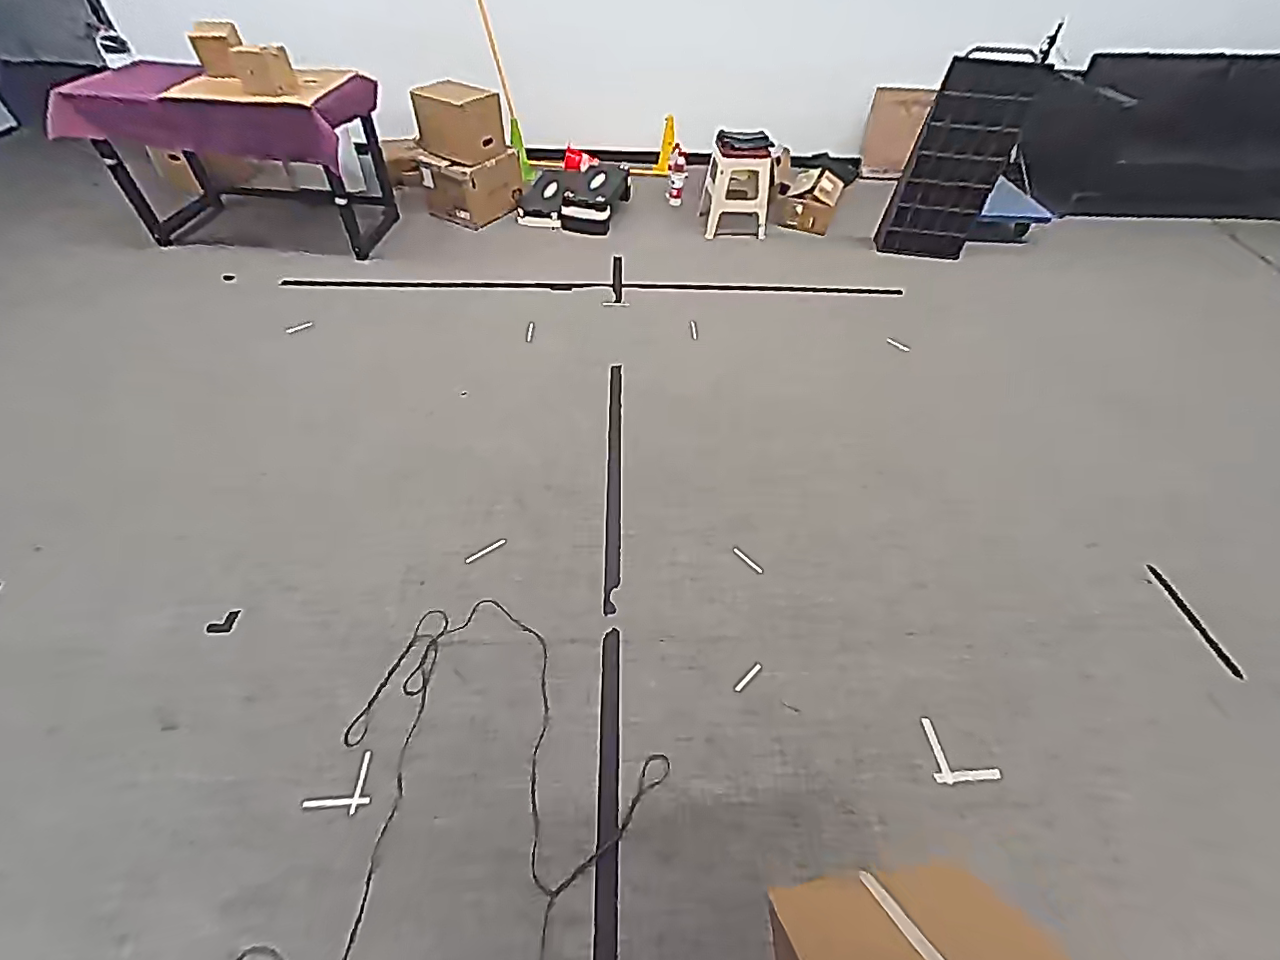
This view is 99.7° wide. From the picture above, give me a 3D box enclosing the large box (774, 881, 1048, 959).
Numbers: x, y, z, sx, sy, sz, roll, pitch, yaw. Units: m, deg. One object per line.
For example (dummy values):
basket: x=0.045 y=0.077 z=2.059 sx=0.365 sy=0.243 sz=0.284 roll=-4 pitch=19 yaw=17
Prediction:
large box: x=0.381 y=0.763 z=0.627 sx=0.320 sy=0.408 sz=0.320 roll=-4 pitch=83 yaw=-5
